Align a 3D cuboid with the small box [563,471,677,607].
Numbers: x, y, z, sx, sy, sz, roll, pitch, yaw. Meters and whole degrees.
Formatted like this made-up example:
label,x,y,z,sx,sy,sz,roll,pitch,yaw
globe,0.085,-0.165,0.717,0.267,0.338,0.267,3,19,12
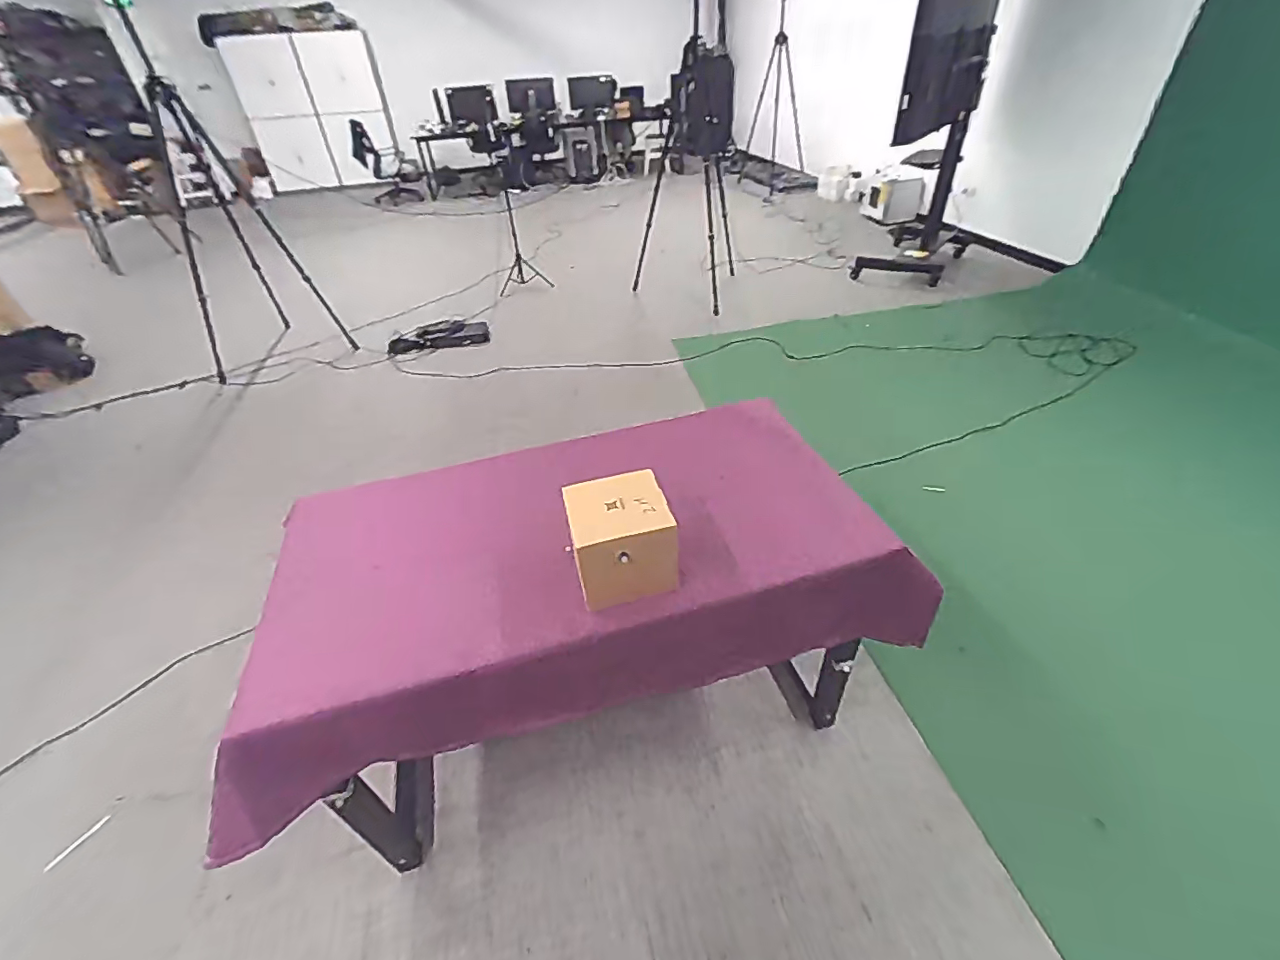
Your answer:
label,x,y,z,sx,sy,sz,roll,pitch,yaw
small box,-0.035,0.110,0.998,0.179,0.176,0.168,-11,40,-9
